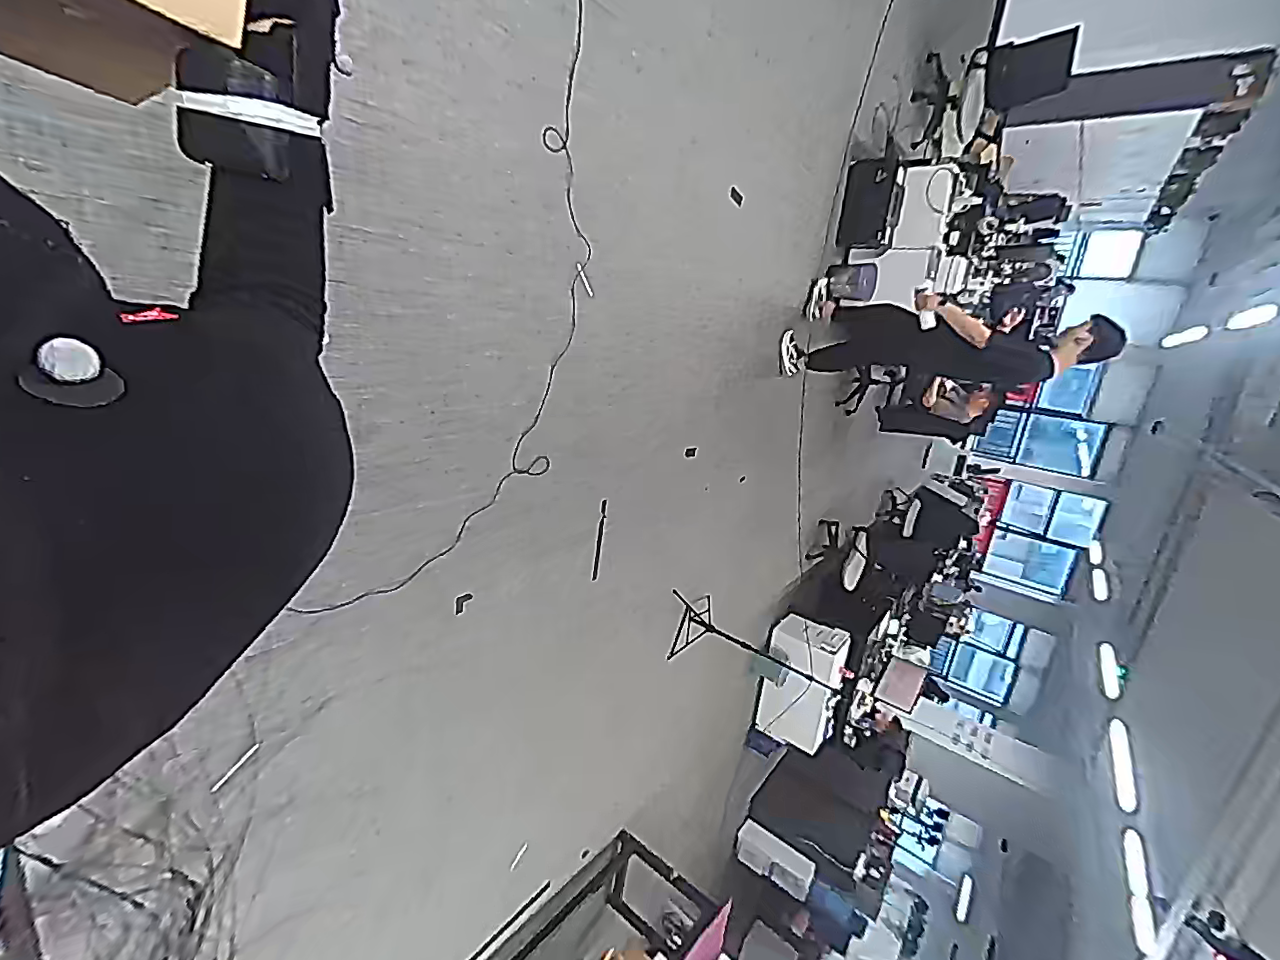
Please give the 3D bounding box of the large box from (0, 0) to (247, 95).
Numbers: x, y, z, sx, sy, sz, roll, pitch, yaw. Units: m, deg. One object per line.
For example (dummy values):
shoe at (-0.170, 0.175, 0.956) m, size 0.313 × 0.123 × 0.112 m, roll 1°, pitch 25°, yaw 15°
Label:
large box at (-0.456, -0.452, 0.239) m, size 0.408 × 0.320 × 0.320 m, roll -3°, pitch 111°, yaw -52°
